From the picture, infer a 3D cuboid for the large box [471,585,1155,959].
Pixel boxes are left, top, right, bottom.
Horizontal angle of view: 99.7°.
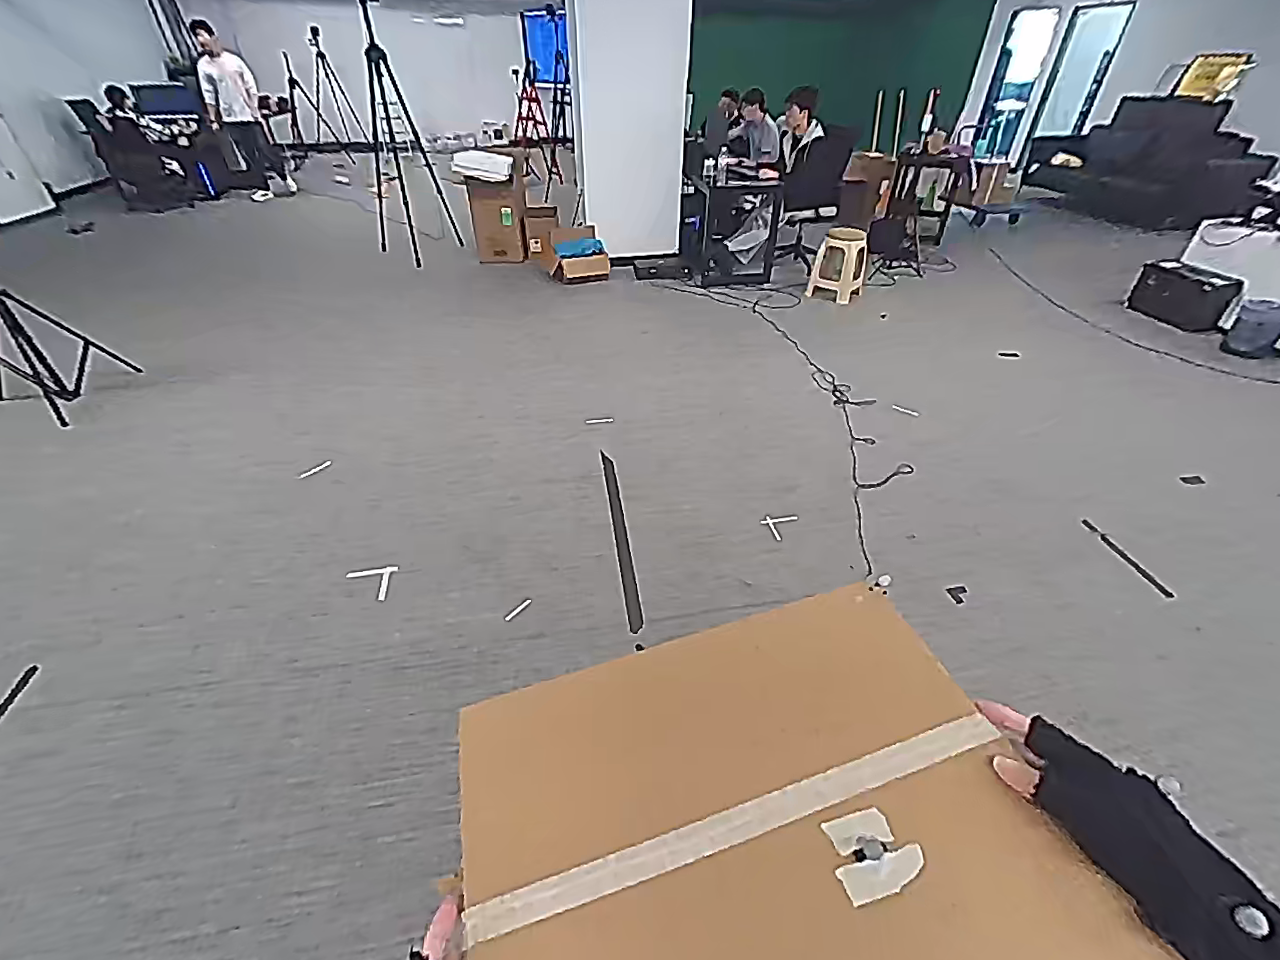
[{"bbox_3d":[0.094,0.361,0.497,0.408,0.320,0.320,-15,42,-10],"label":"large box"}]
